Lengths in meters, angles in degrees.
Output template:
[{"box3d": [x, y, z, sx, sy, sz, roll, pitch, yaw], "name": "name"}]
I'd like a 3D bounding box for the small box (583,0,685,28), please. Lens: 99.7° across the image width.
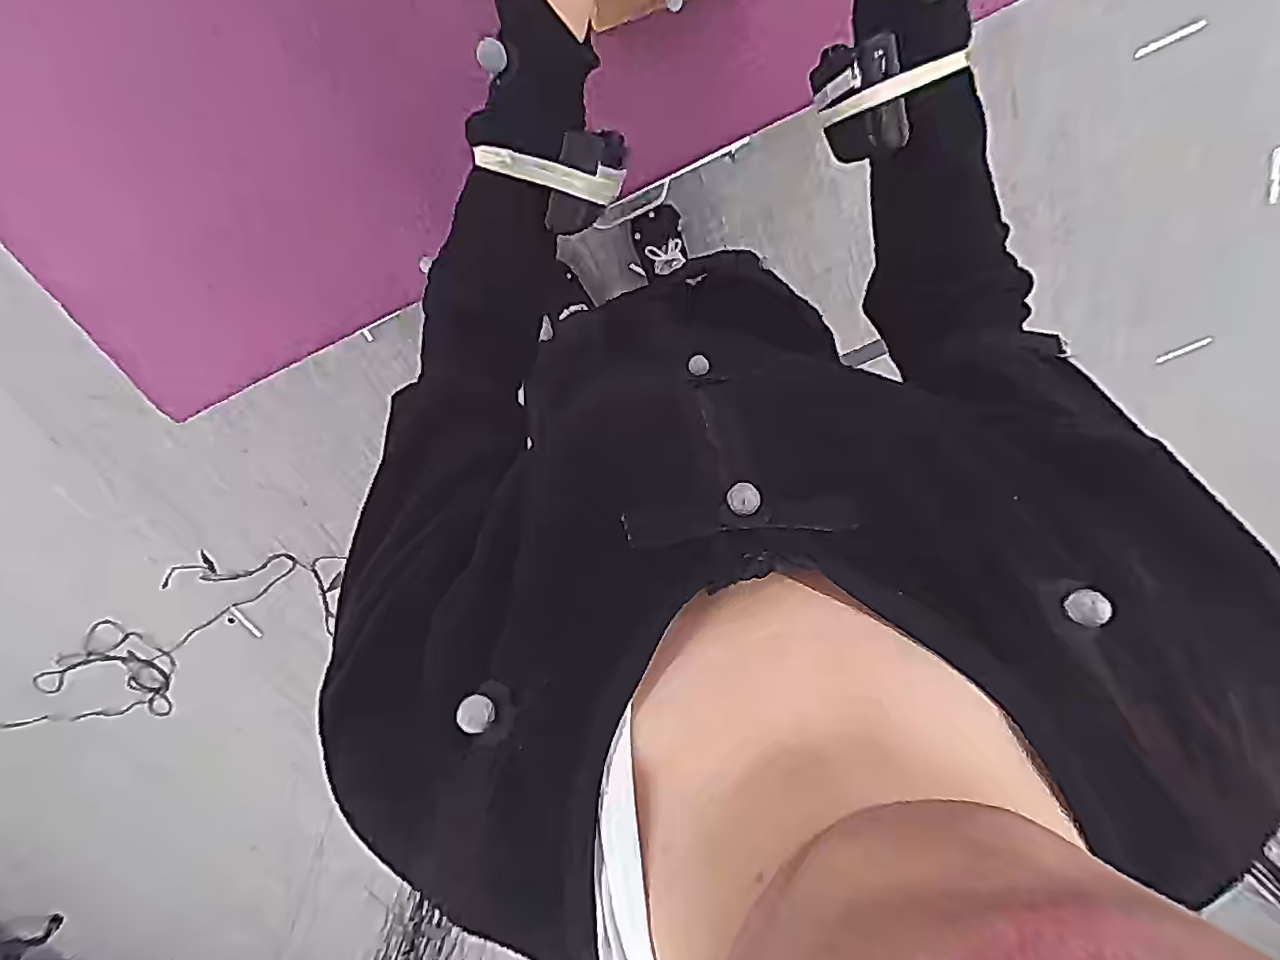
[{"box3d": [0.008, -0.525, 0.443, 0.168, 0.176, 0.179, -17, 116, 4], "name": "small box"}]
